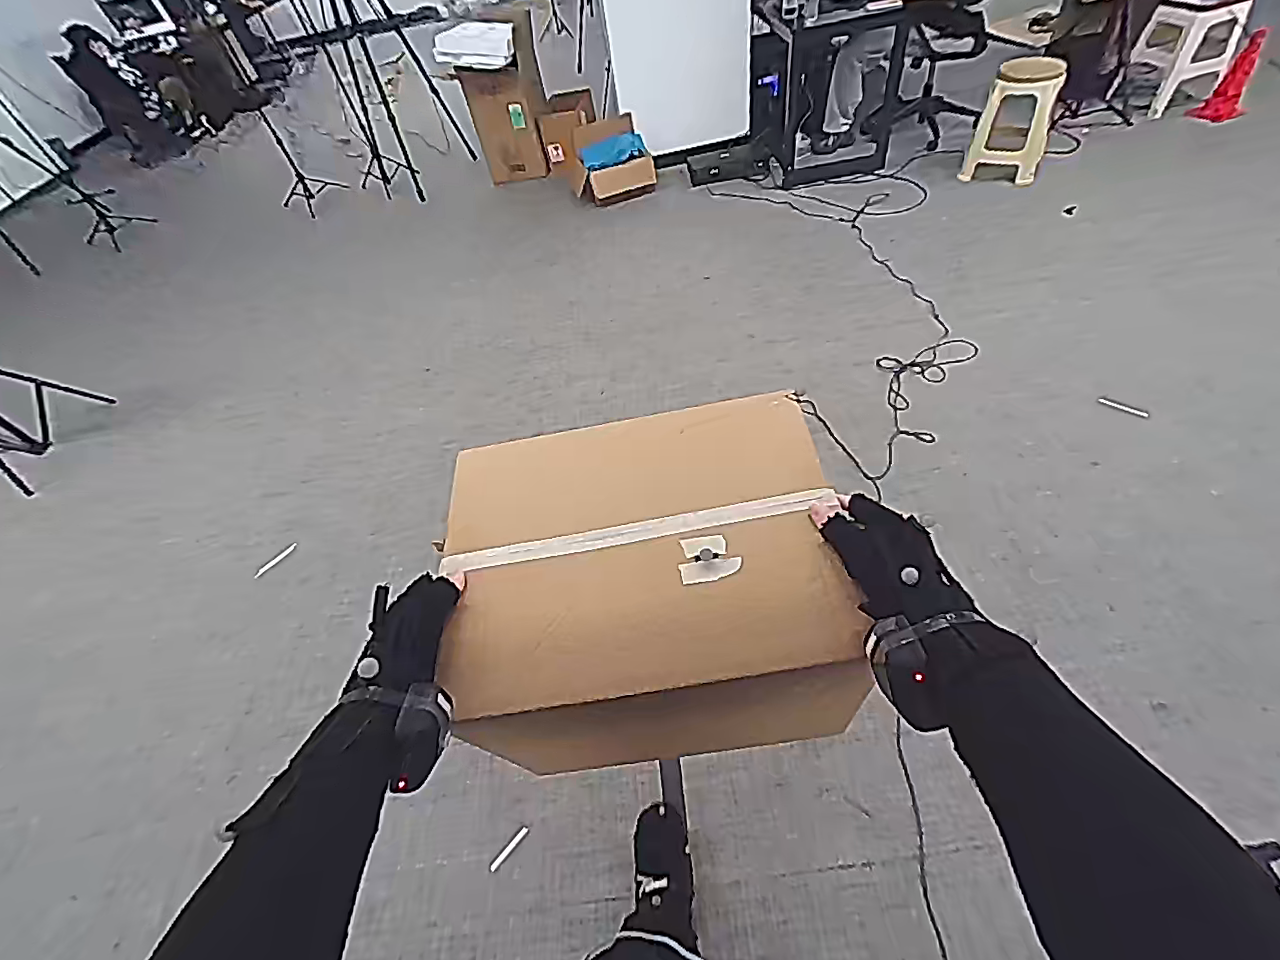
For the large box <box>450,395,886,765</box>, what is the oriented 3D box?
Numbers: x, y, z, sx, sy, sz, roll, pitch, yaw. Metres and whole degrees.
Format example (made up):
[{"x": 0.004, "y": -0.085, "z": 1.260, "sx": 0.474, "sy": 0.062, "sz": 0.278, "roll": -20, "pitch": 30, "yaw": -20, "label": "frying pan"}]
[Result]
[{"x": 0.025, "y": 0.140, "z": 0.685, "sx": 0.408, "sy": 0.320, "sz": 0.320, "roll": -10, "pitch": 54, "yaw": 3, "label": "large box"}]
